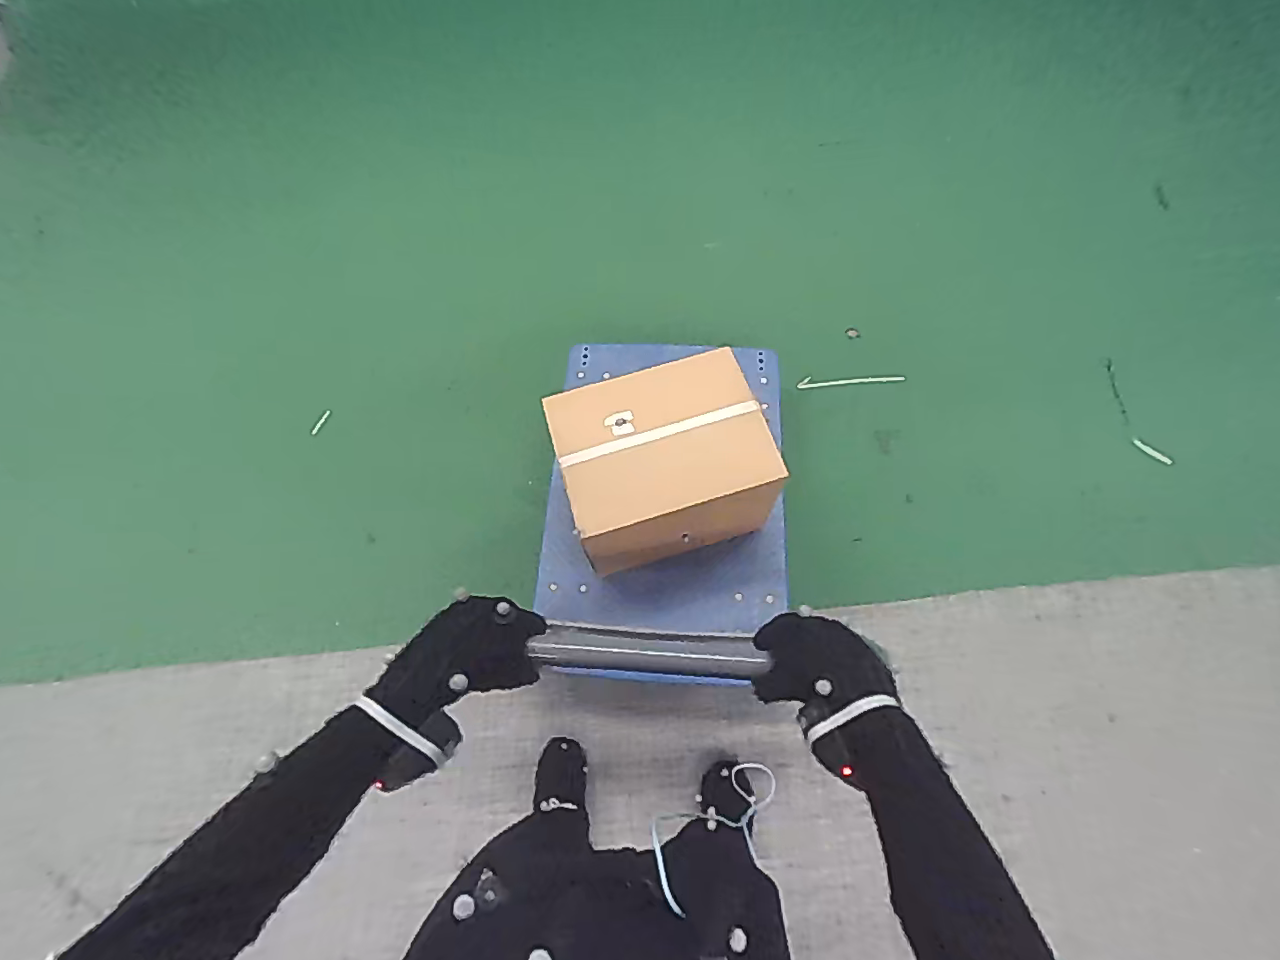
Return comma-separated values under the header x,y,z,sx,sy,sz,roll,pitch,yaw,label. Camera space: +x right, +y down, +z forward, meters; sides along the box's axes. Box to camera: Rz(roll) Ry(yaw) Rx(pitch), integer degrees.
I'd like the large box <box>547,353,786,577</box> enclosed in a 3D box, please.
x,y,z,sx,sy,sz,roll,pitch,yaw,label
0.052,-0.018,1.194,0.408,0.320,0.320,-17,66,-4,large box
